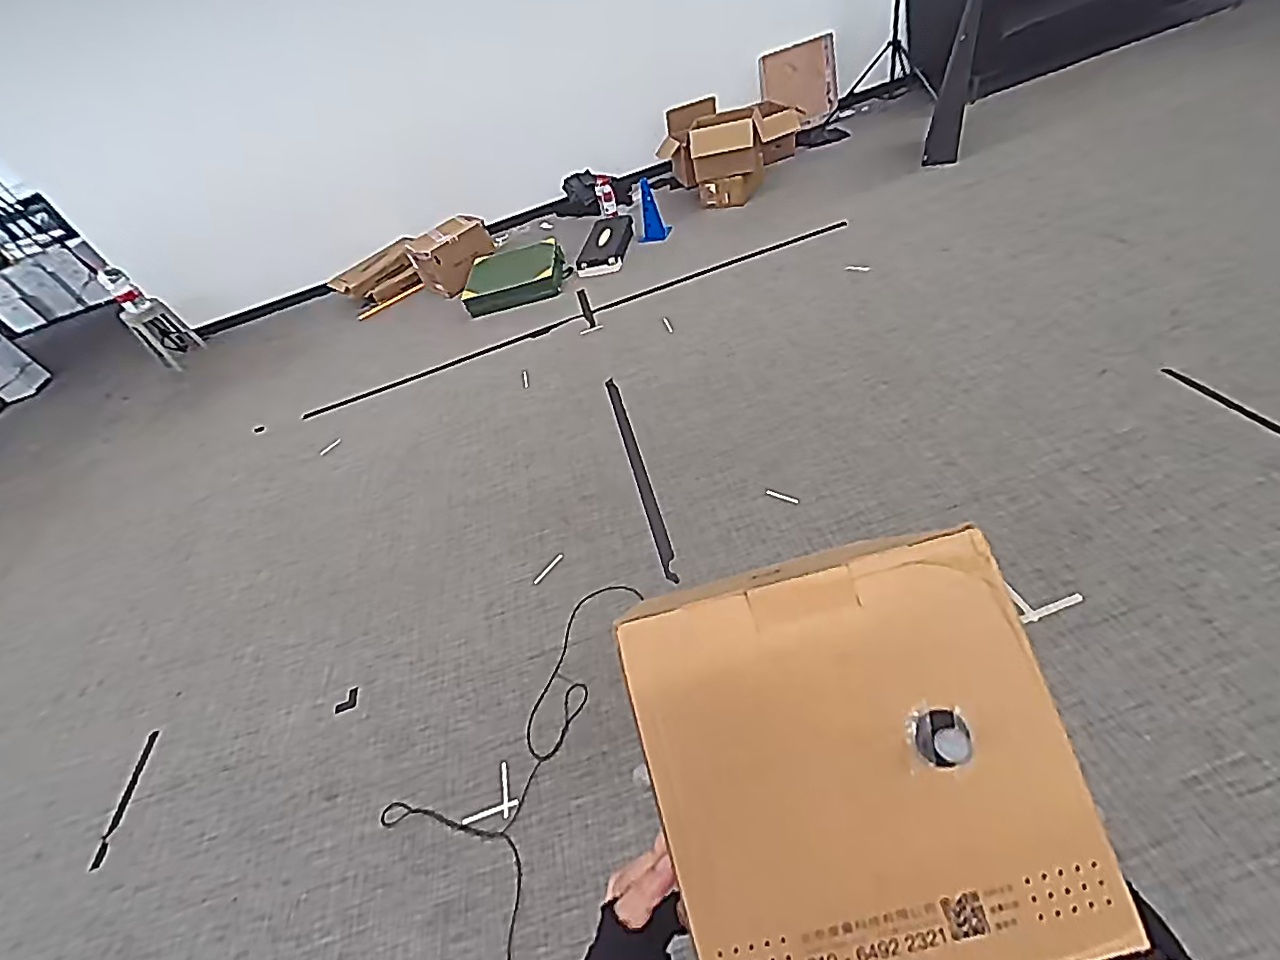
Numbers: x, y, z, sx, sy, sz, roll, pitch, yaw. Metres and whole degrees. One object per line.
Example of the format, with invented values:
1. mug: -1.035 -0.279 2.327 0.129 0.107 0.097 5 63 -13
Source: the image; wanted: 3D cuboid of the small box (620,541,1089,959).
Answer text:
1. small box: 0.099 0.142 0.315 0.168 0.179 0.176 -16 79 4
